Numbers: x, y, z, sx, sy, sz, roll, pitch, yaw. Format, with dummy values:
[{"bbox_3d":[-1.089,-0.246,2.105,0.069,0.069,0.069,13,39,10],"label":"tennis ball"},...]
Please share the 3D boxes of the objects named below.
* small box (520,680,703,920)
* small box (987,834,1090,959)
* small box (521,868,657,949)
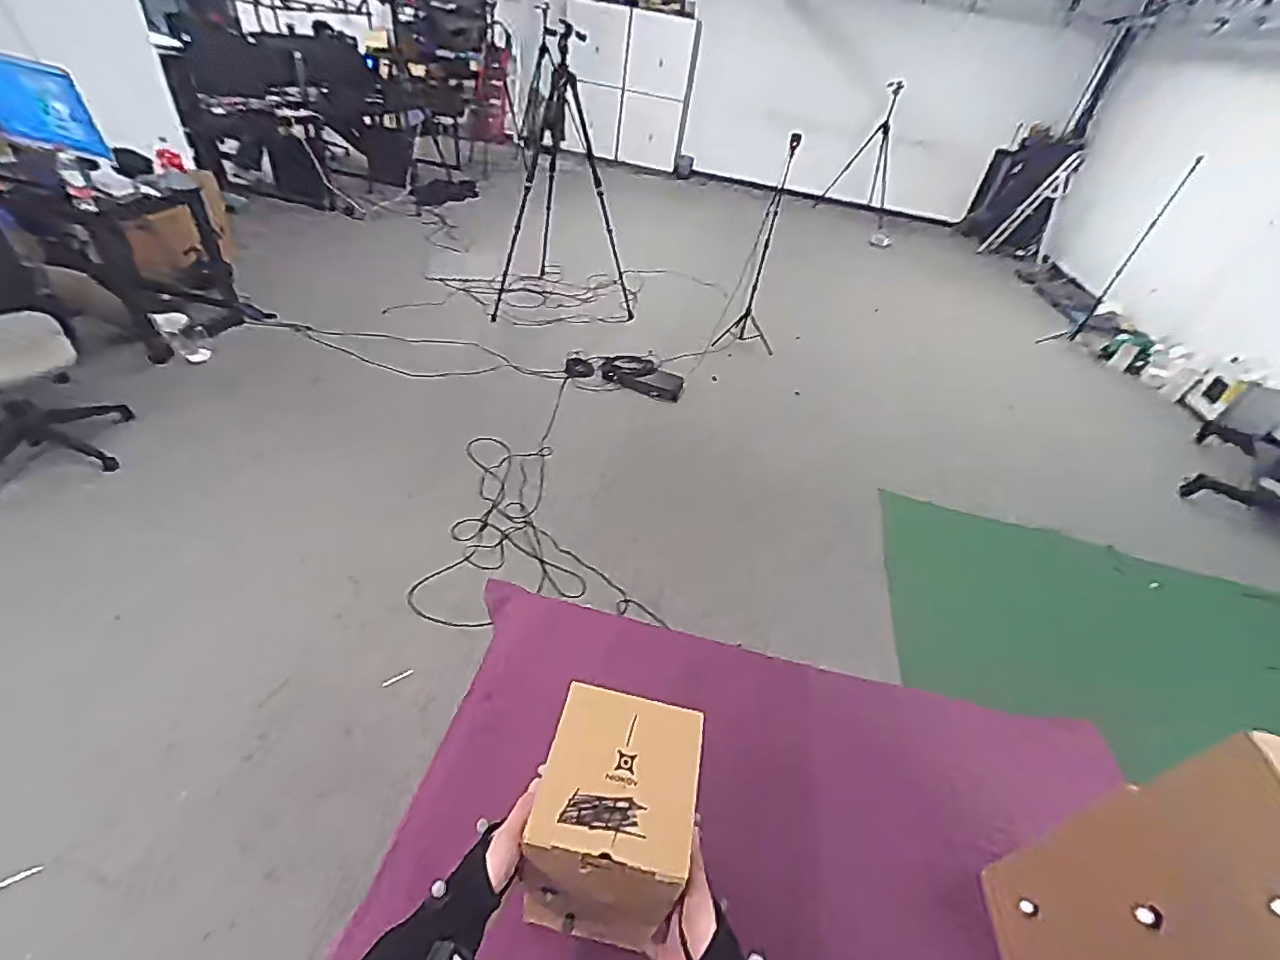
[{"bbox_3d":[-0.030,0.373,0.631,0.168,0.176,0.179,13,38,4],"label":"small box"},{"bbox_3d":[0.608,0.621,0.726,0.168,0.176,0.179,12,38,4],"label":"small box"},{"bbox_3d":[-0.051,0.498,0.736,0.168,0.176,0.179,12,39,4],"label":"small box"}]
